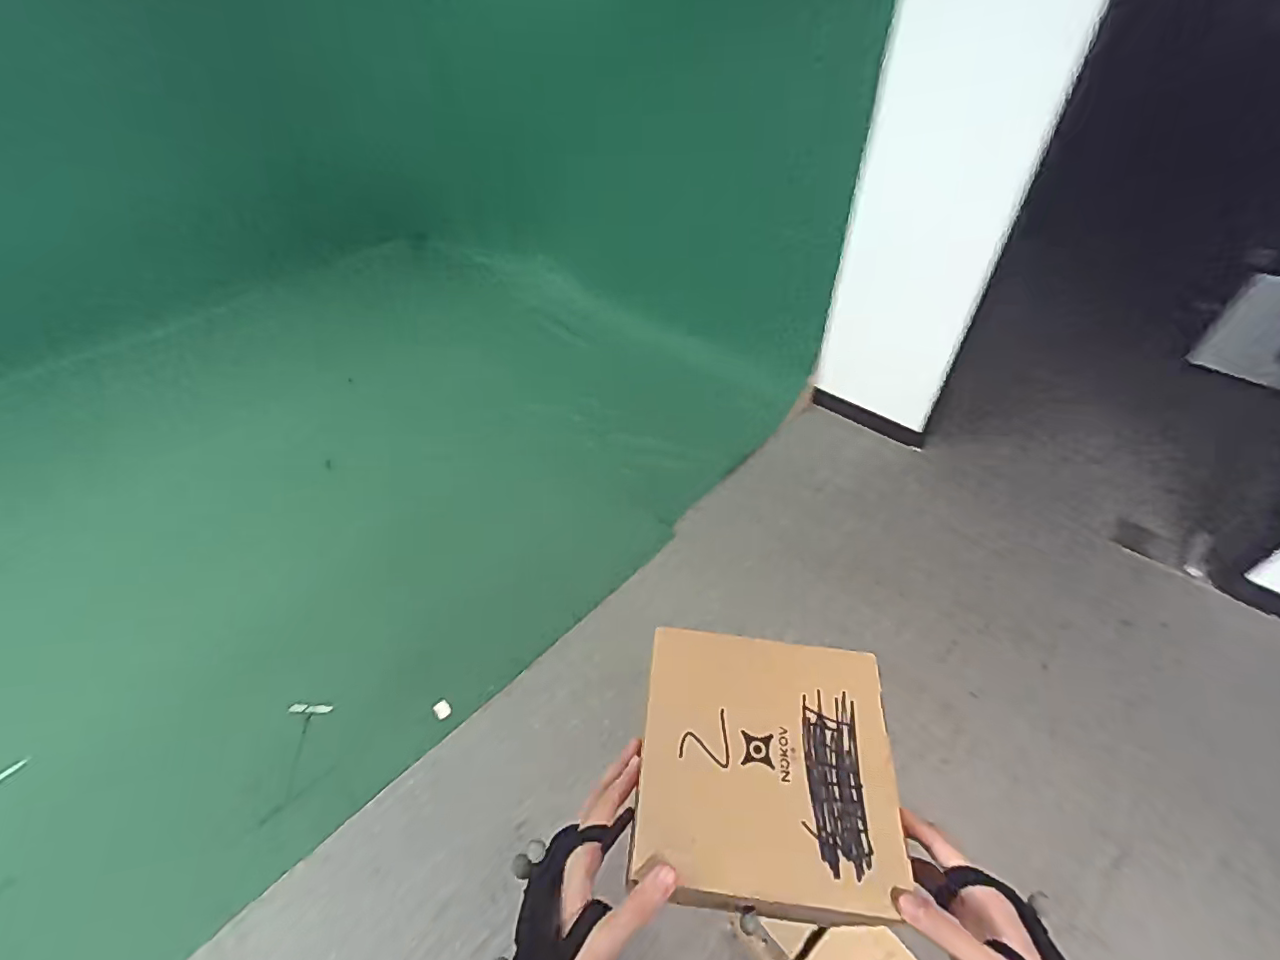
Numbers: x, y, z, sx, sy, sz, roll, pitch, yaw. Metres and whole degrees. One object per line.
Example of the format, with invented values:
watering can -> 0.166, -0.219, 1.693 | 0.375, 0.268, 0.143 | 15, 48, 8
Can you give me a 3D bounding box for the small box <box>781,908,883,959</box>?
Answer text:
small box -> 0.363, 0.961, 1.026 | 0.168, 0.176, 0.179 | 35, 60, 28
